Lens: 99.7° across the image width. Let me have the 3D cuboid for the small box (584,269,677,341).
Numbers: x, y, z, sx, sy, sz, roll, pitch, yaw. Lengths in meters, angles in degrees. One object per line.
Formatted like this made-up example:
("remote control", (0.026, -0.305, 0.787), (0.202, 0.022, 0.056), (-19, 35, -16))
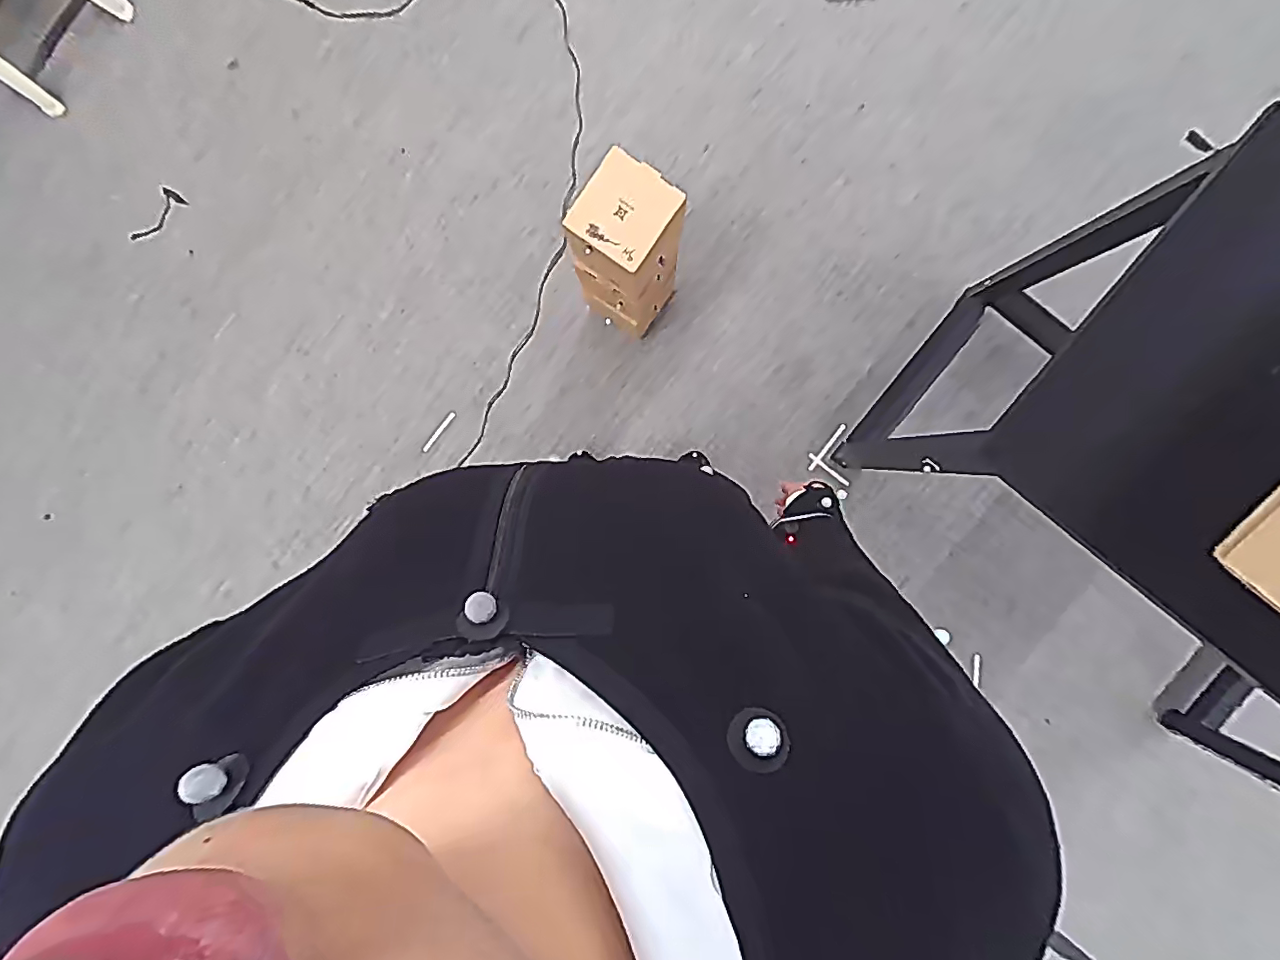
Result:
("small box", (-0.023, -0.489, 1.403), (0.168, 0.176, 0.179), (35, 93, 1))

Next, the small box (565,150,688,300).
("small box", (-0.025, -0.495, 1.077), (0.168, 0.176, 0.179), (35, 92, 1))

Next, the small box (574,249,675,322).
("small box", (-0.027, -0.491, 1.241), (0.168, 0.176, 0.179), (32, 91, 0))
